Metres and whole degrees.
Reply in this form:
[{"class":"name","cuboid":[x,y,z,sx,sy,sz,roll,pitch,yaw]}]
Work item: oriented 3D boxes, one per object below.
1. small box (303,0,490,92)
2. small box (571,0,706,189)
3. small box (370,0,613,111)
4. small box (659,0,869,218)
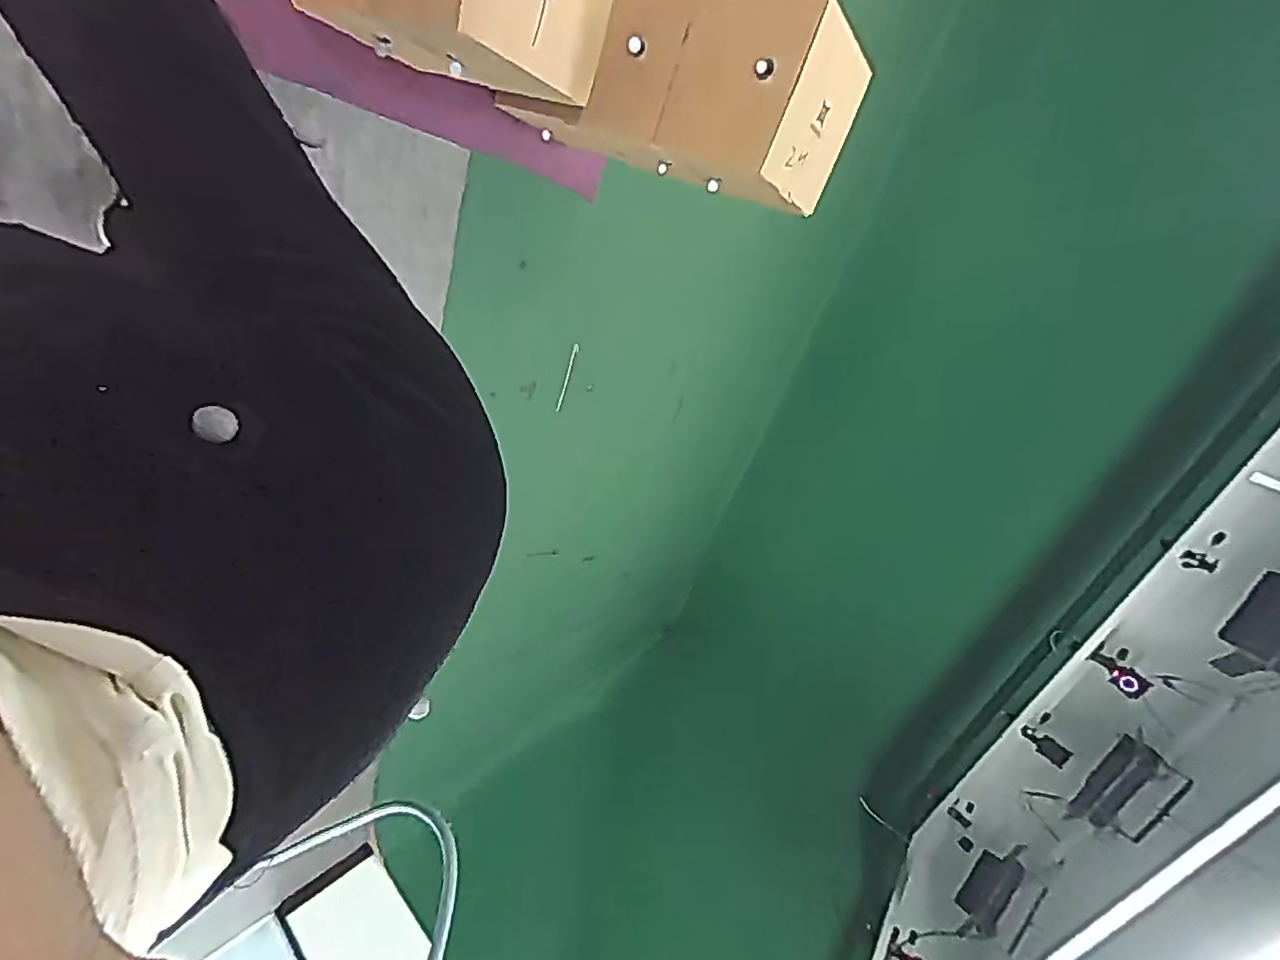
[{"class":"small box","cuboid":[-0.265,-0.582,0.613,0.168,0.176,0.179,-13,128,-52]},{"class":"small box","cuboid":[0.028,-0.540,0.756,0.168,0.176,0.179,-9,126,-52]},{"class":"small box","cuboid":[-0.143,-0.506,0.534,0.168,0.176,0.179,-12,128,-52]},{"class":"small box","cuboid":[0.150,-0.462,0.676,0.168,0.176,0.179,-8,126,-53]}]
